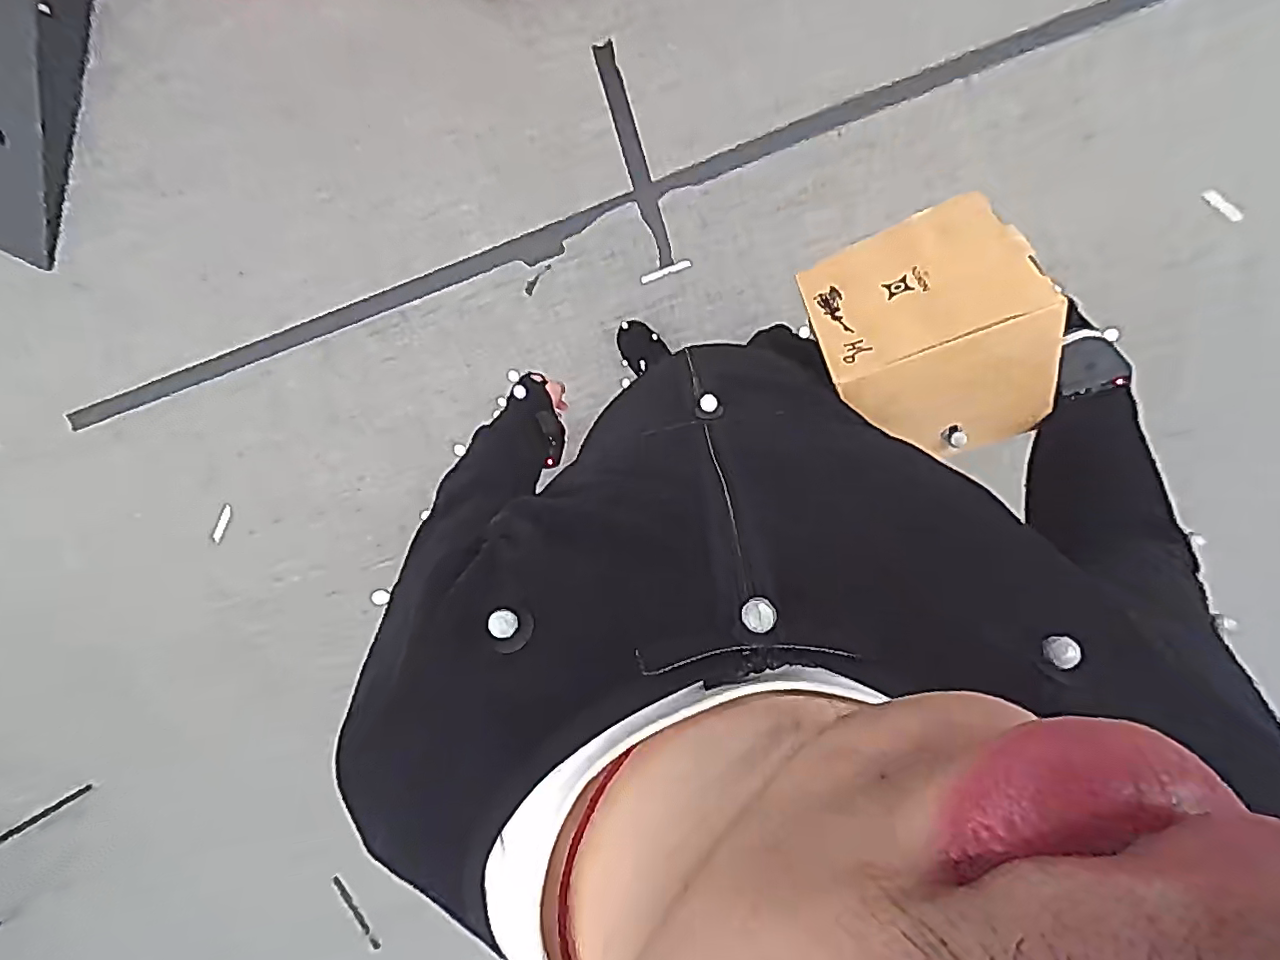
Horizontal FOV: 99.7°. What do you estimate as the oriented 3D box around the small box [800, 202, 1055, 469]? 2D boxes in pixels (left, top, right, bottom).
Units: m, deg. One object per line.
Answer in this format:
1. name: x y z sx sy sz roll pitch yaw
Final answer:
1. small box: 0.286 -0.138 0.562 0.179 0.168 0.176 -19 141 21
